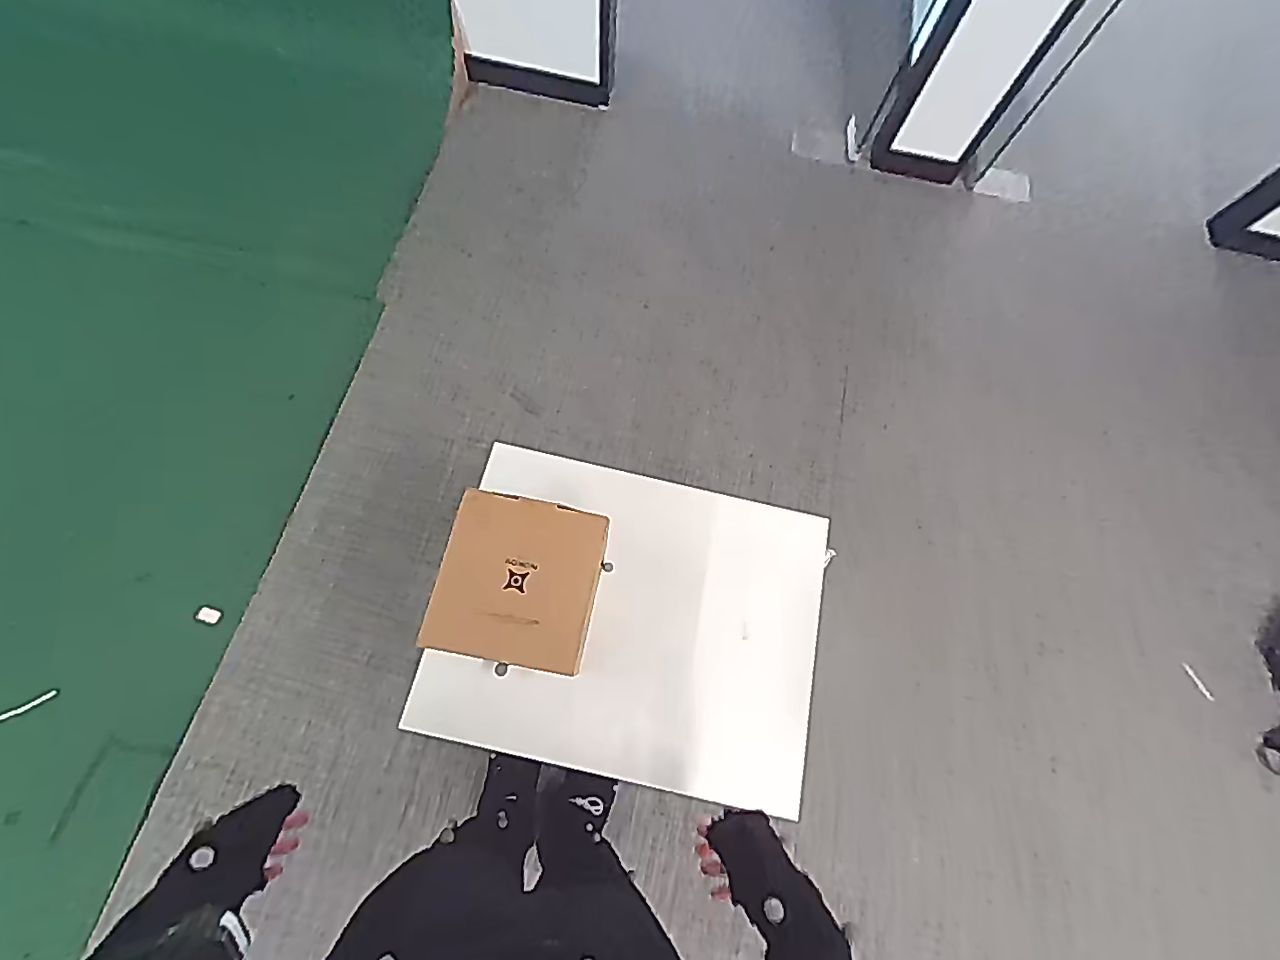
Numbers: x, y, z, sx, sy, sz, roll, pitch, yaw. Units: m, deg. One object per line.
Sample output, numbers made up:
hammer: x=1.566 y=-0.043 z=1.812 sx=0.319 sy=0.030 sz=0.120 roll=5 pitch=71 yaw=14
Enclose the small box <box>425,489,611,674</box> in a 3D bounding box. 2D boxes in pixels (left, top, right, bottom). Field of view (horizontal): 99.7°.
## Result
small box: x=-0.133 y=0.130 z=0.659 sx=0.168 sy=0.176 sz=0.179 roll=10 pitch=72 yaw=0
